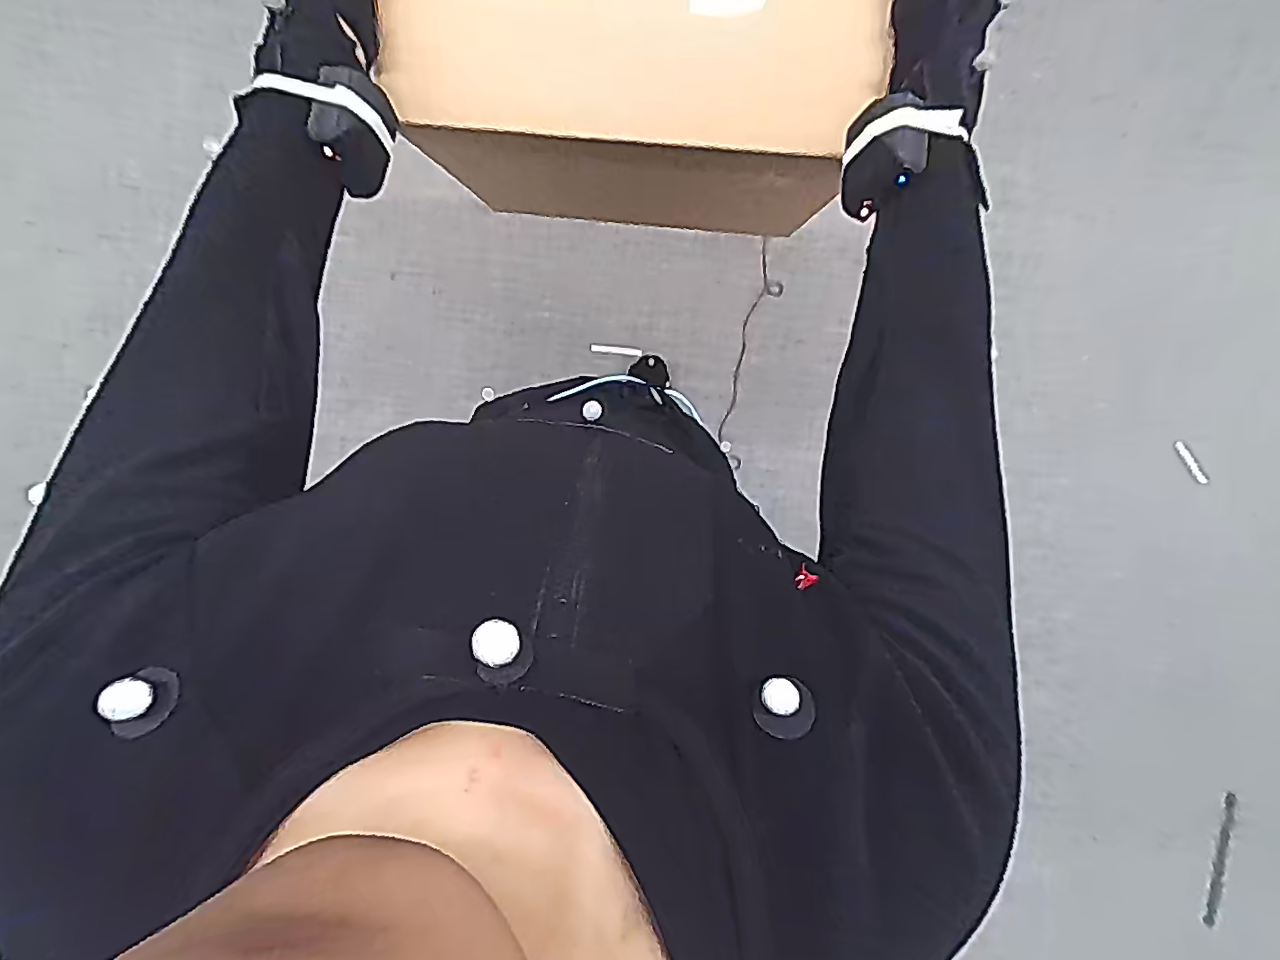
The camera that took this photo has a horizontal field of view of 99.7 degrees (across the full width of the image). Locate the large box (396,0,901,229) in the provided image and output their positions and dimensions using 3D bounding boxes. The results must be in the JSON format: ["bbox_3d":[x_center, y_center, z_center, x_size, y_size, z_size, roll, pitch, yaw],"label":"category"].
[{"bbox_3d":[0.011,-0.464,0.554,0.408,0.320,0.320,5,105,0],"label":"large box"}]
